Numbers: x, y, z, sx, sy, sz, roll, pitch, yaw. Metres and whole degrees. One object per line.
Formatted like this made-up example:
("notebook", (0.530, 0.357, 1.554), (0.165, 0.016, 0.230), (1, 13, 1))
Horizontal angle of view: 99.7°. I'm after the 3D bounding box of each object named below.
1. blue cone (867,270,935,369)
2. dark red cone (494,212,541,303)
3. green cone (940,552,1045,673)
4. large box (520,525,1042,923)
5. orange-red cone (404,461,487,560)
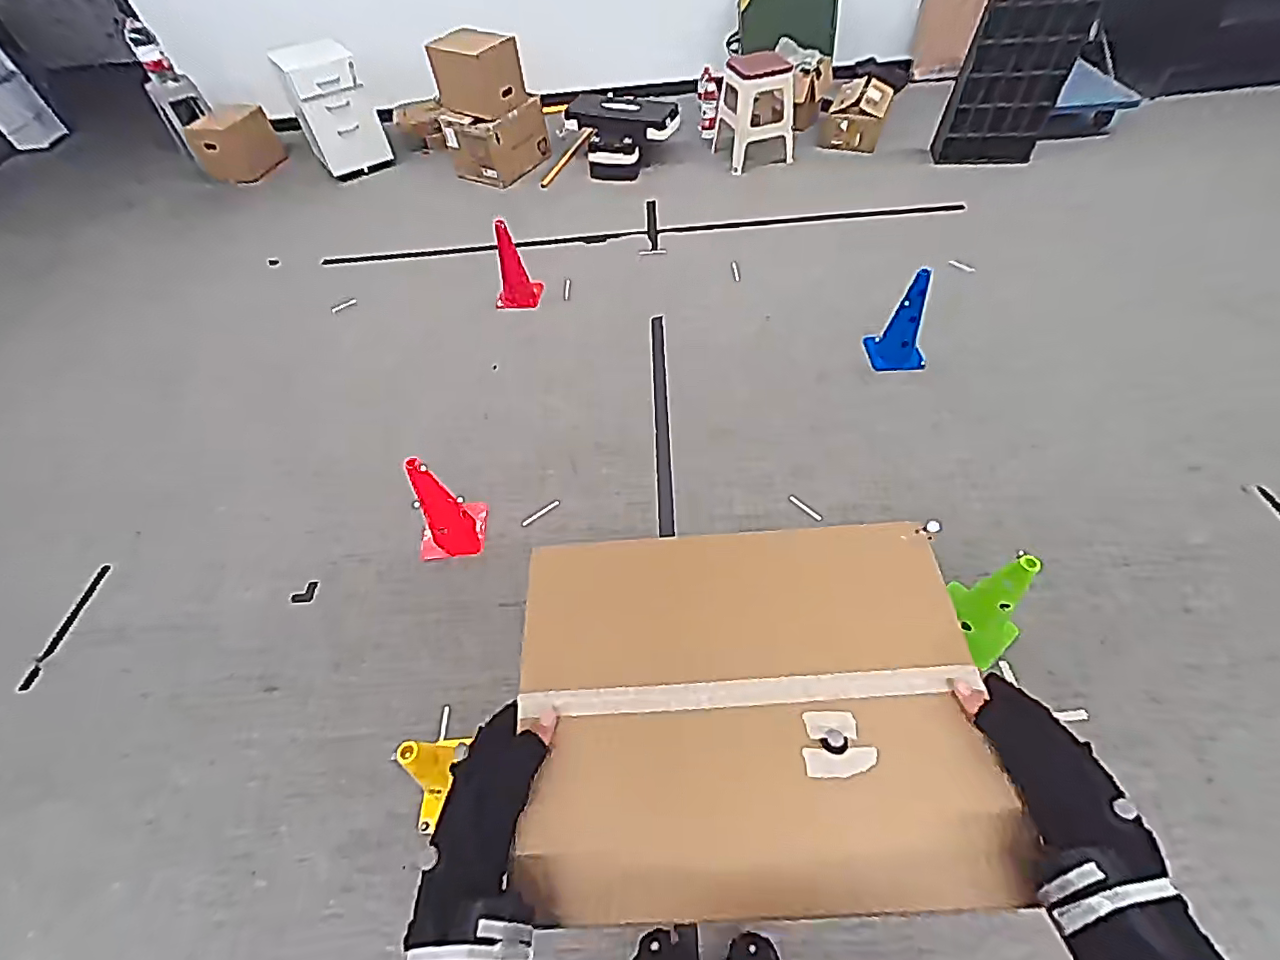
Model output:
("blue cone", (0.999, -0.602, 2.009), (0.192, 0.380, 0.193), (0, 53, 4))
("dark red cone", (-0.580, -0.983, 2.396), (0.201, 0.394, 0.202), (2, 53, 5))
("green cone", (0.873, 0.288, 1.321), (0.202, 0.368, 0.200), (-34, 58, -21))
("large box", (0.105, 0.272, 0.610), (0.408, 0.320, 0.320), (-4, 57, 2))
("orange-red cone", (-0.617, 0.067, 1.630), (0.198, 0.360, 0.199), (-6, 54, 2))
